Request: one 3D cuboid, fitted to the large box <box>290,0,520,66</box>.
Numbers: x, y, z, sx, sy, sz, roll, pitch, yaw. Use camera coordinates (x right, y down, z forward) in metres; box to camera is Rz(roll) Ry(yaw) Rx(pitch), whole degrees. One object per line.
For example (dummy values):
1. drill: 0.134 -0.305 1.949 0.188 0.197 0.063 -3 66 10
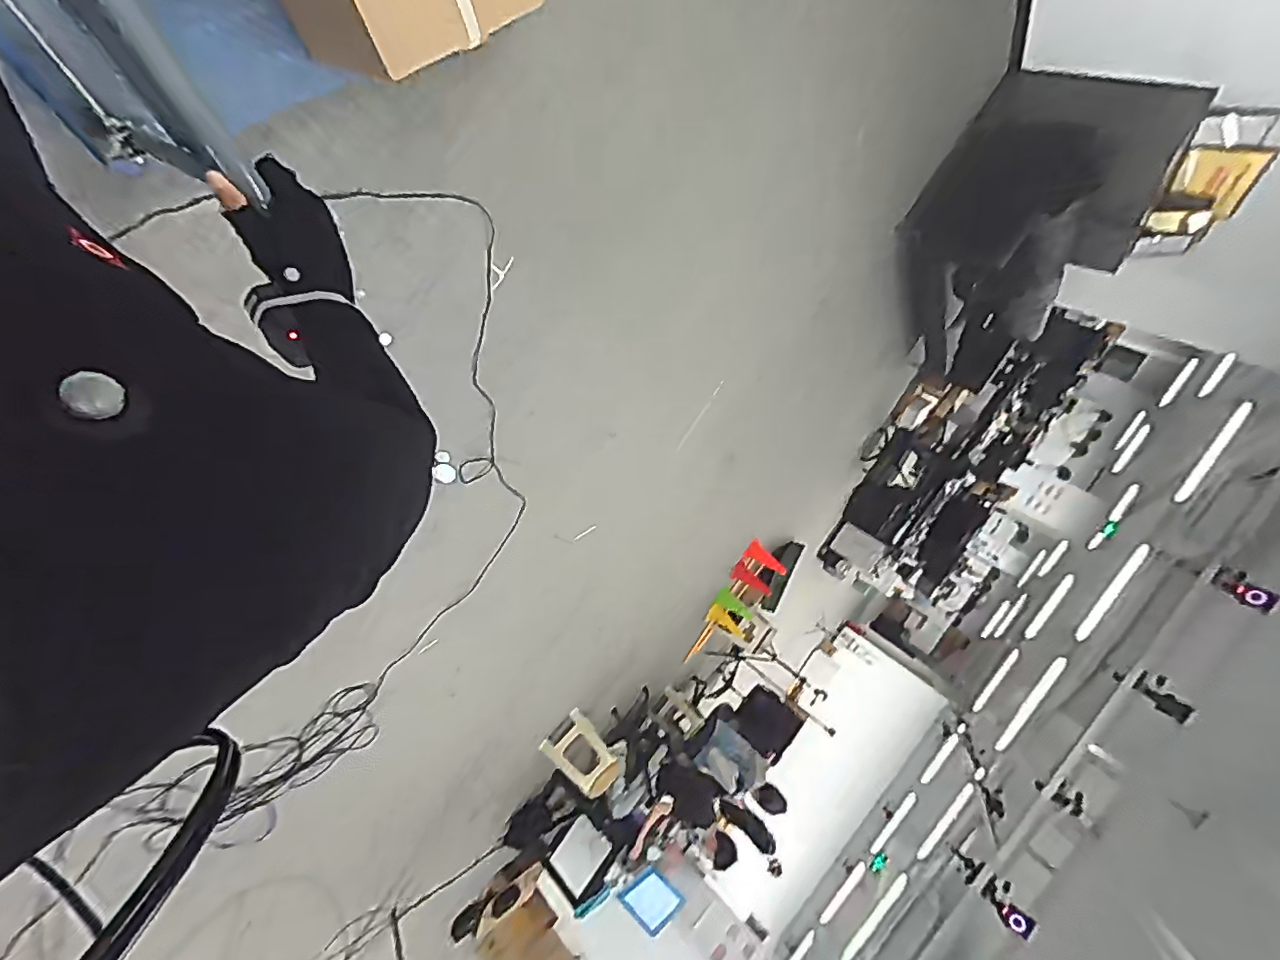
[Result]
1. large box: -0.411 -0.907 0.781 0.320 0.320 0.408 -44 147 -18
